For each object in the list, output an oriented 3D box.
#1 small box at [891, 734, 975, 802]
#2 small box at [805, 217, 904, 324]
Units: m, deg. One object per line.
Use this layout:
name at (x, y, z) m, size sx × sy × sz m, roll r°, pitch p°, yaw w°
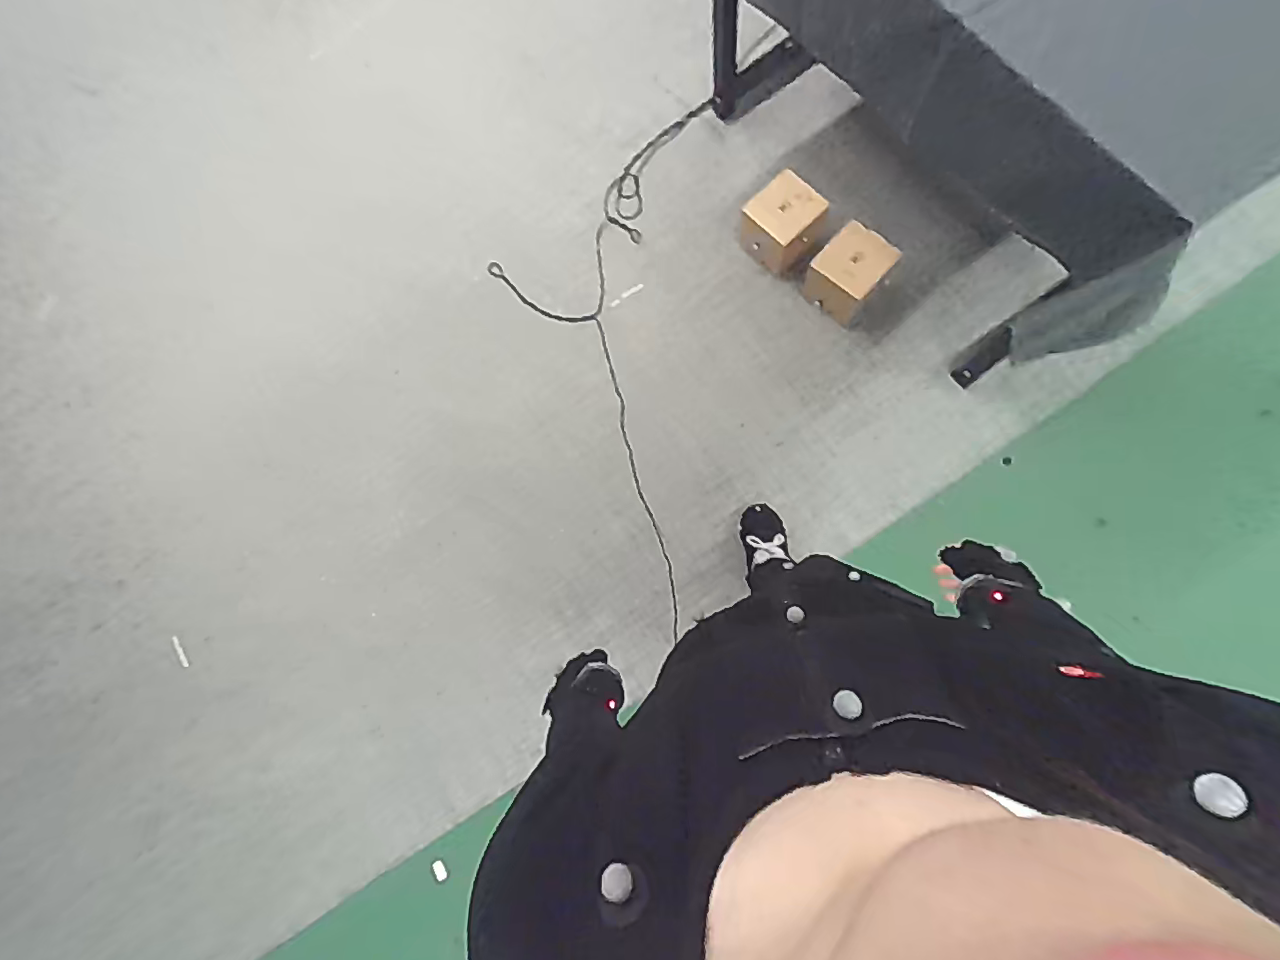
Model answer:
small box at (0.719, 0.717, 1.250) m, size 0.168 × 0.176 × 0.179 m, roll -36°, pitch 77°, yaw 1°
small box at (0.577, -0.567, 1.483) m, size 0.168 × 0.176 × 0.179 m, roll 43°, pitch 88°, yaw 12°
